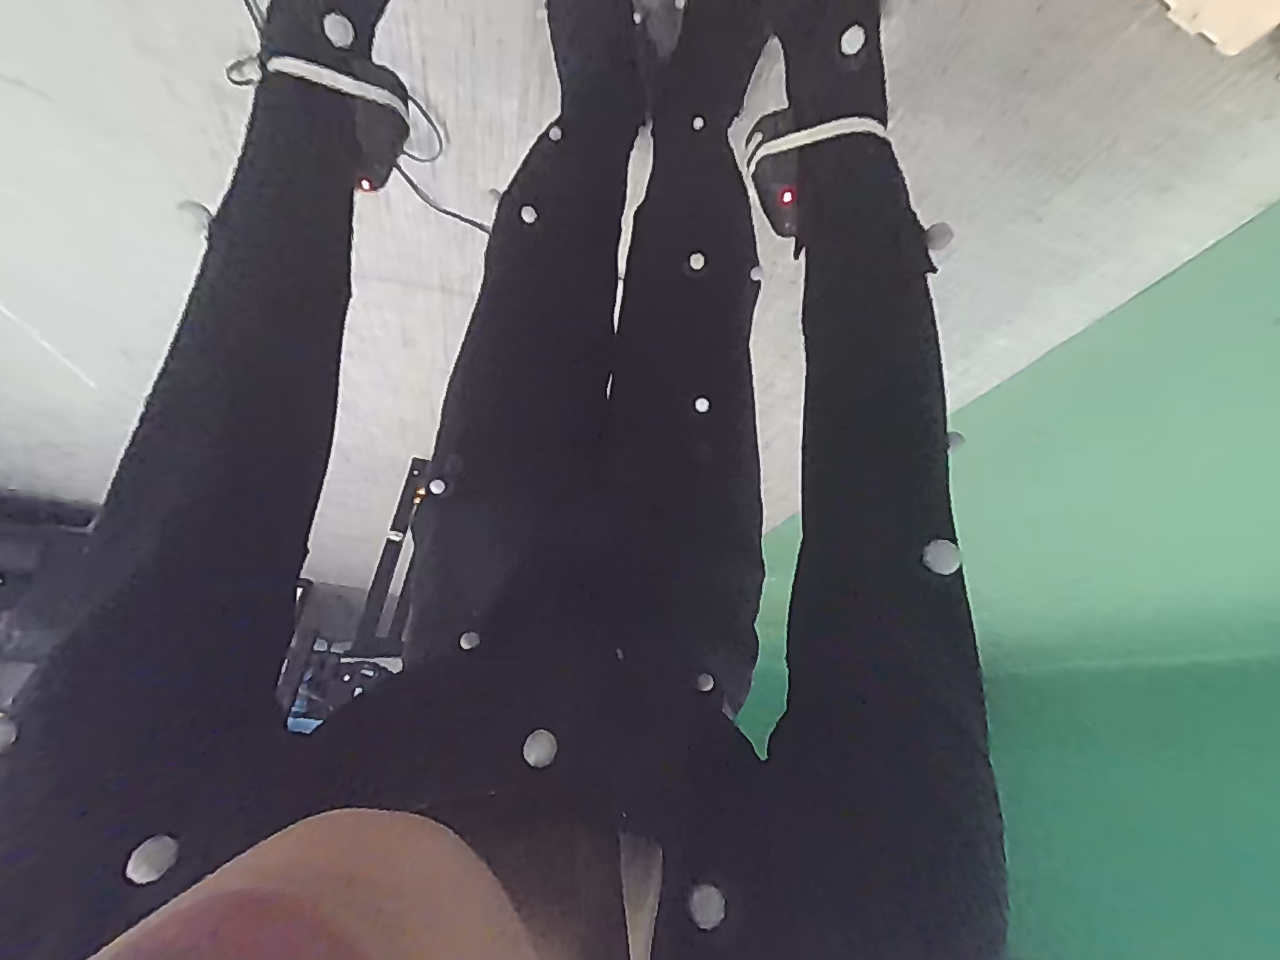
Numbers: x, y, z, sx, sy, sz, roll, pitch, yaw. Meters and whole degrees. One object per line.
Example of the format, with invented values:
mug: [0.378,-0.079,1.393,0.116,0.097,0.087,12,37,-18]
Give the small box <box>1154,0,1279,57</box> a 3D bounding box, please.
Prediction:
small box: [0.592,-0.575,0.515,0.168,0.176,0.179,15,154,-18]
